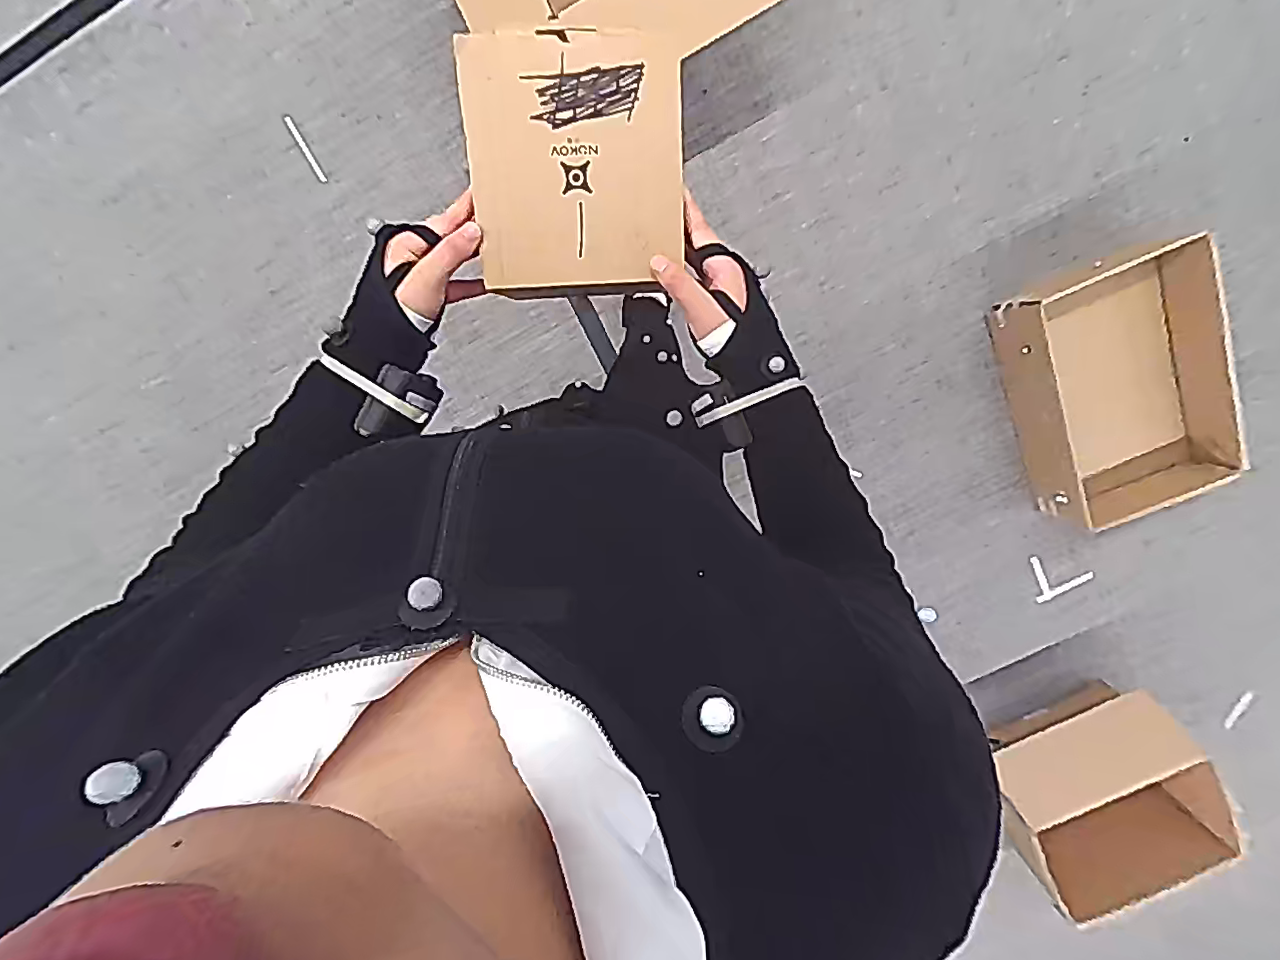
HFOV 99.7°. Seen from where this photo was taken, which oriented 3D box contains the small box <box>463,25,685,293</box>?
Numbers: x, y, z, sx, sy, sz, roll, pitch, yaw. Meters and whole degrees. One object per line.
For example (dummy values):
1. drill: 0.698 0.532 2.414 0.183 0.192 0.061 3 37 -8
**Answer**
1. small box: -0.054 -0.274 0.501 0.168 0.176 0.179 -4 106 -3
